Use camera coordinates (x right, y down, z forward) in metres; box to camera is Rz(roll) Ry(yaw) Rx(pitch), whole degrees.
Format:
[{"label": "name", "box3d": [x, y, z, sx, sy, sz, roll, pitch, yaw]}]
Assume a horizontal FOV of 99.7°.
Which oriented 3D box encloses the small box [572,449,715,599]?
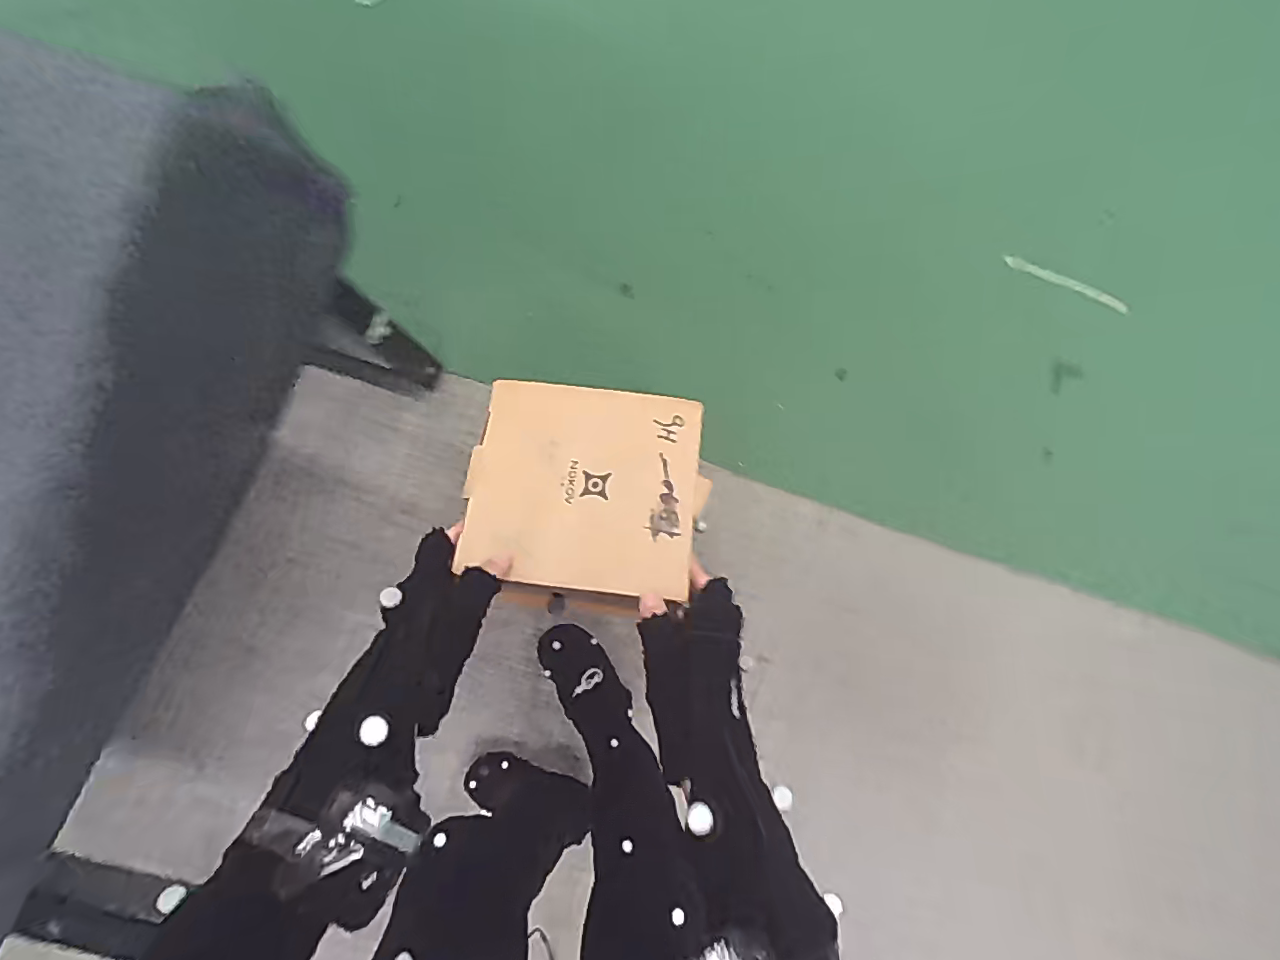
[{"label": "small box", "box3d": [0.000, 0.069, 0.881, 0.168, 0.176, 0.179, 24, 86, -2]}]
